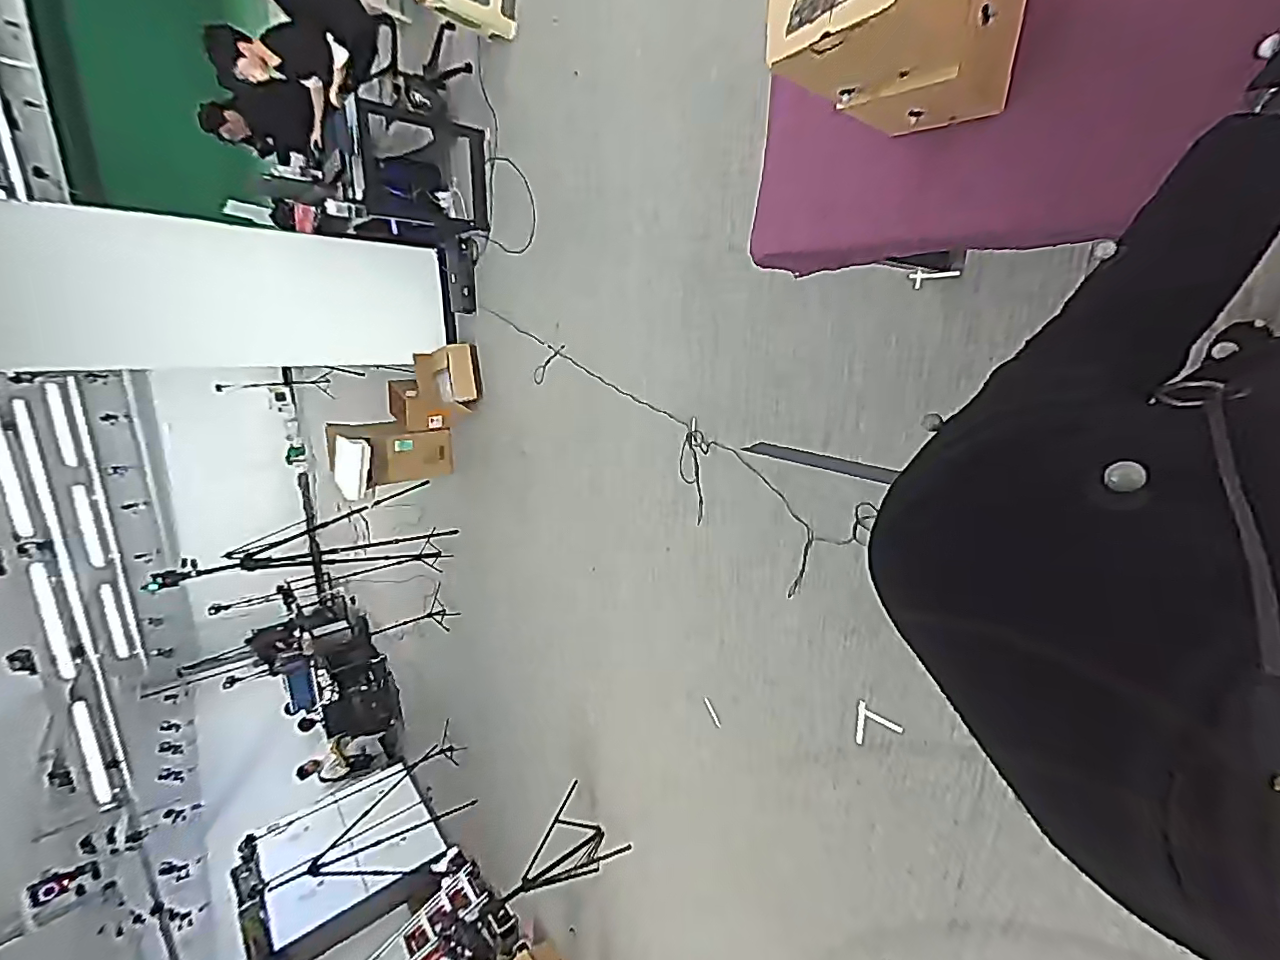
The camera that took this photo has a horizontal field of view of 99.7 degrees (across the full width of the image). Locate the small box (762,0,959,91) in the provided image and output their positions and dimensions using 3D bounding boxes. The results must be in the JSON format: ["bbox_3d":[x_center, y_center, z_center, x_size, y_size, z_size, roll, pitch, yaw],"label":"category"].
[{"bbox_3d":[0.265,-0.593,0.638,0.168,0.176,0.179,16,111,47],"label":"small box"}]

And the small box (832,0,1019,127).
[{"bbox_3d":[0.392,-0.608,0.741,0.168,0.176,0.179,22,116,45],"label":"small box"}]
